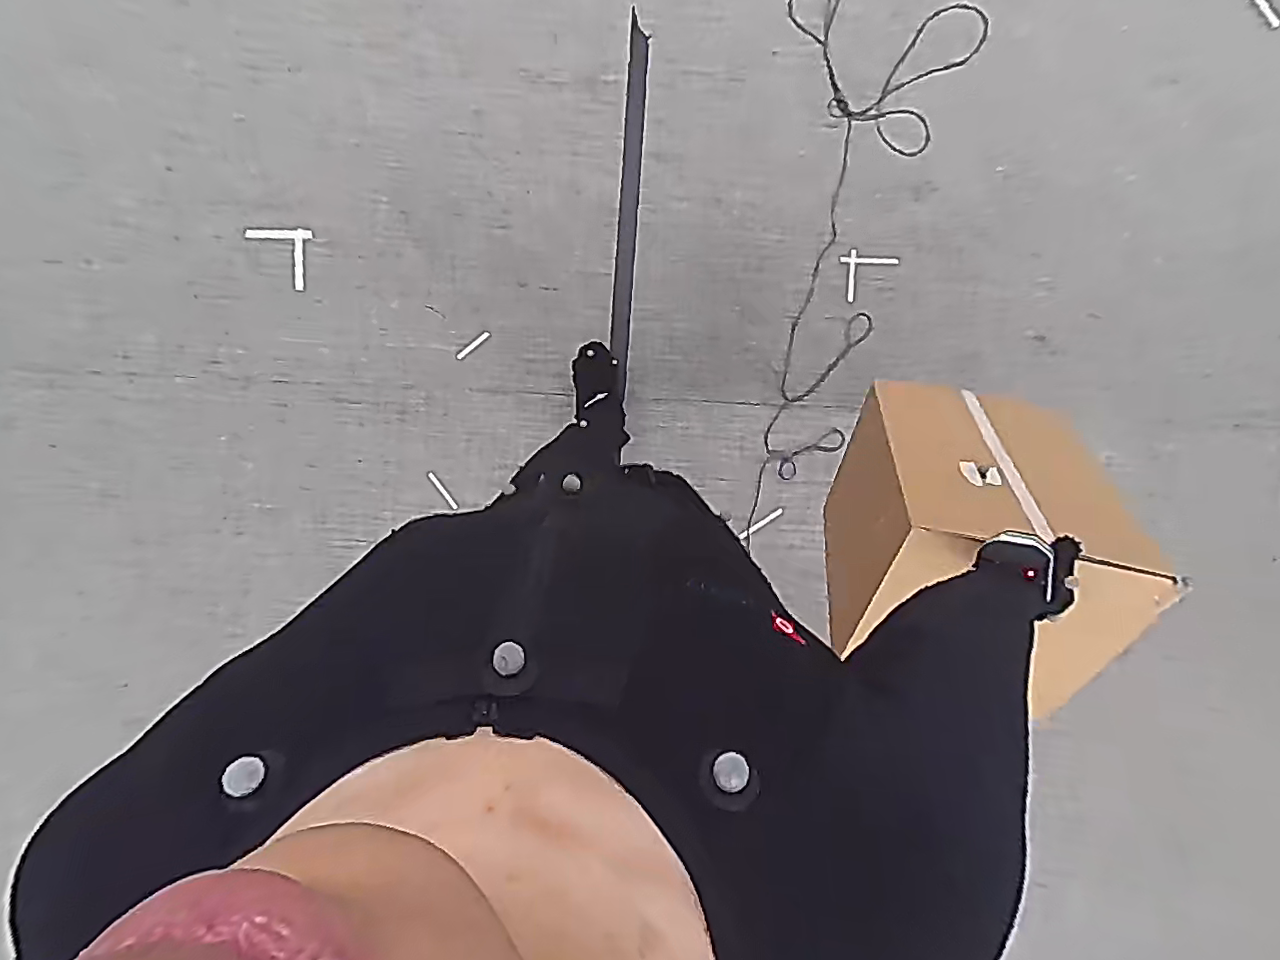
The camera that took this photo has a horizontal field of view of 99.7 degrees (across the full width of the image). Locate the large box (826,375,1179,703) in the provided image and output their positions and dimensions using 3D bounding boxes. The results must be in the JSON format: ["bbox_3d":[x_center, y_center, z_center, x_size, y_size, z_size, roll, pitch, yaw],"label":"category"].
[{"bbox_3d":[0.515,0.079,0.896,0.320,0.408,0.320,11,131,7],"label":"large box"}]
